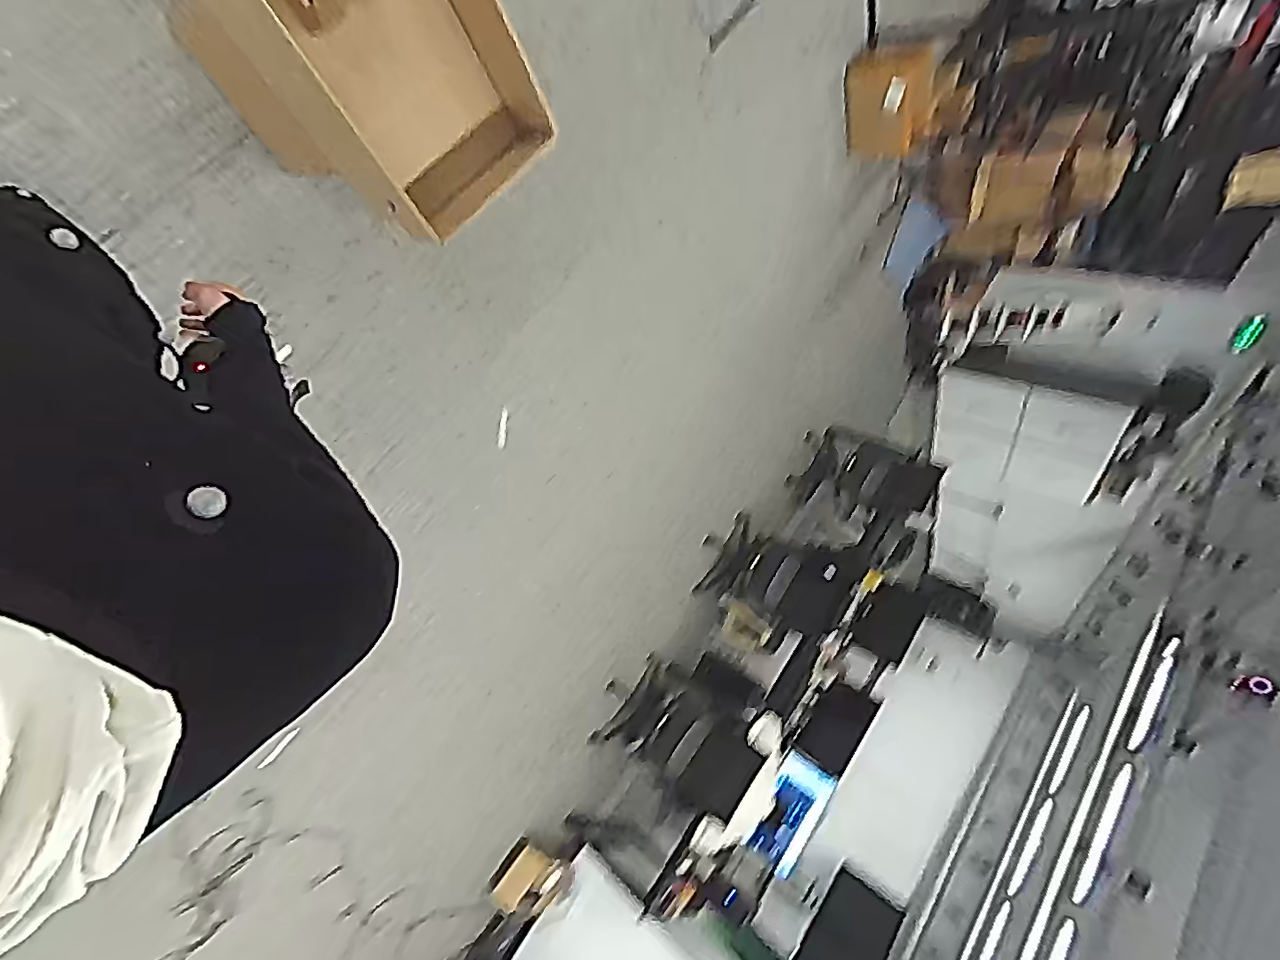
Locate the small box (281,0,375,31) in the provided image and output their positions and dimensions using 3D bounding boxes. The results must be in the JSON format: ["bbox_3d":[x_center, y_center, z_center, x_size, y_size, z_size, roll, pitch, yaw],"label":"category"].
[{"bbox_3d":[-0.506,-0.850,0.849,0.168,0.176,0.179,-56,141,-14],"label":"small box"}]

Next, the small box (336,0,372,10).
[{"bbox_3d":[-0.384,-0.803,0.750,0.179,0.176,0.168,-56,142,-15],"label":"small box"}]
